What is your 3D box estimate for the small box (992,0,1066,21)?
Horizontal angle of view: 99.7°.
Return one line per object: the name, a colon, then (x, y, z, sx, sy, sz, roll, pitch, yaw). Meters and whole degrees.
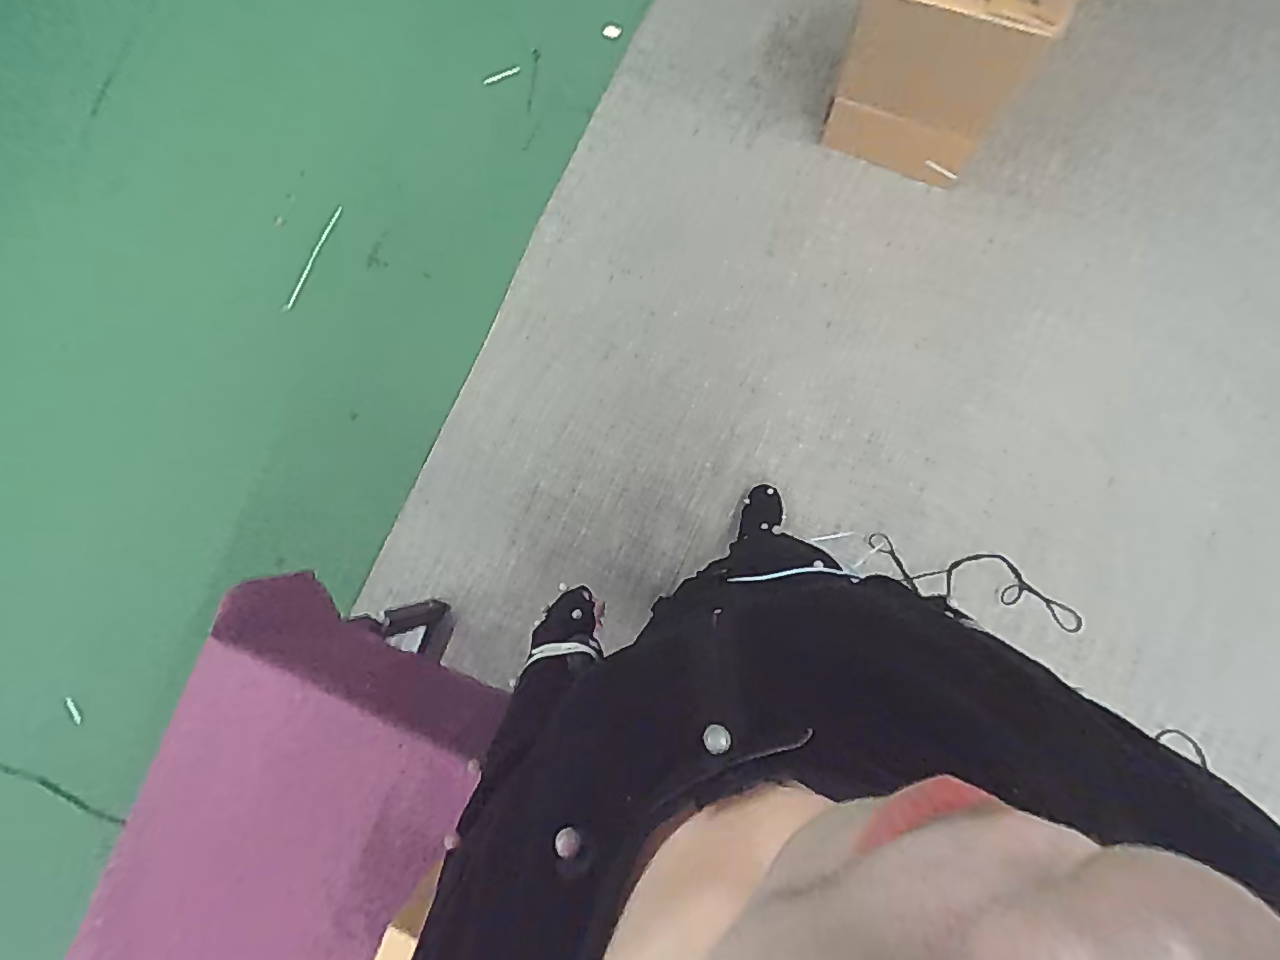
small box: (0.797, -1.047, 1.030, 0.168, 0.176, 0.179, 31, 88, 10)
